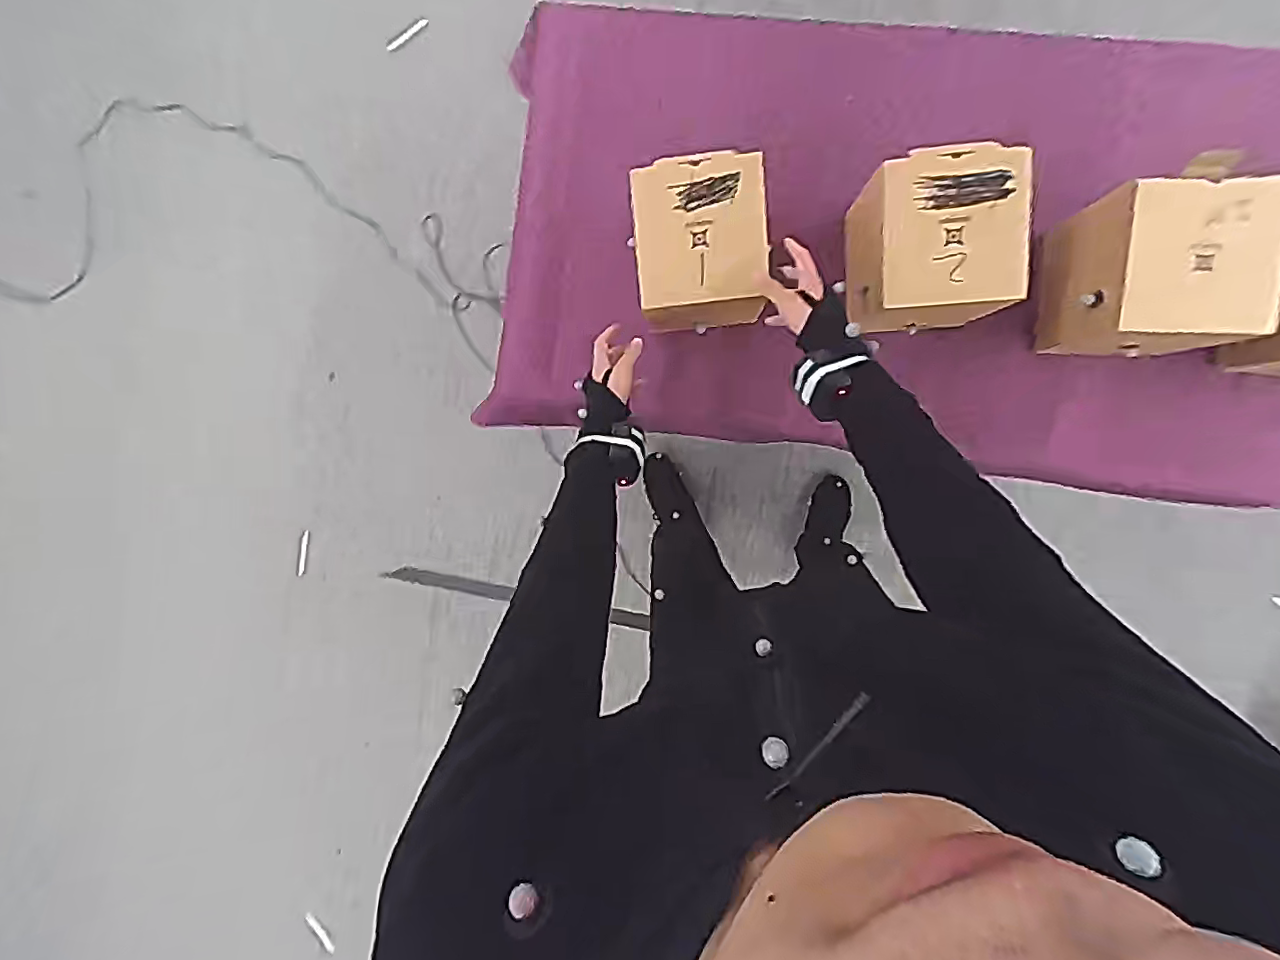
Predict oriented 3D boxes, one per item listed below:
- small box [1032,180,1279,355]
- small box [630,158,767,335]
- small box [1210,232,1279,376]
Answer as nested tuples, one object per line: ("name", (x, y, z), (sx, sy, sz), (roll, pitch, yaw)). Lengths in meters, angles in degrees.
("small box", (0.649, -0.262, 0.703), (0.168, 0.176, 0.179), (3, 94, 6))
("small box", (0.081, -0.314, 0.760), (0.168, 0.176, 0.179), (-5, 95, 7))
("small box", (0.885, -0.230, 0.679), (0.168, 0.176, 0.179), (5, 94, 8))
